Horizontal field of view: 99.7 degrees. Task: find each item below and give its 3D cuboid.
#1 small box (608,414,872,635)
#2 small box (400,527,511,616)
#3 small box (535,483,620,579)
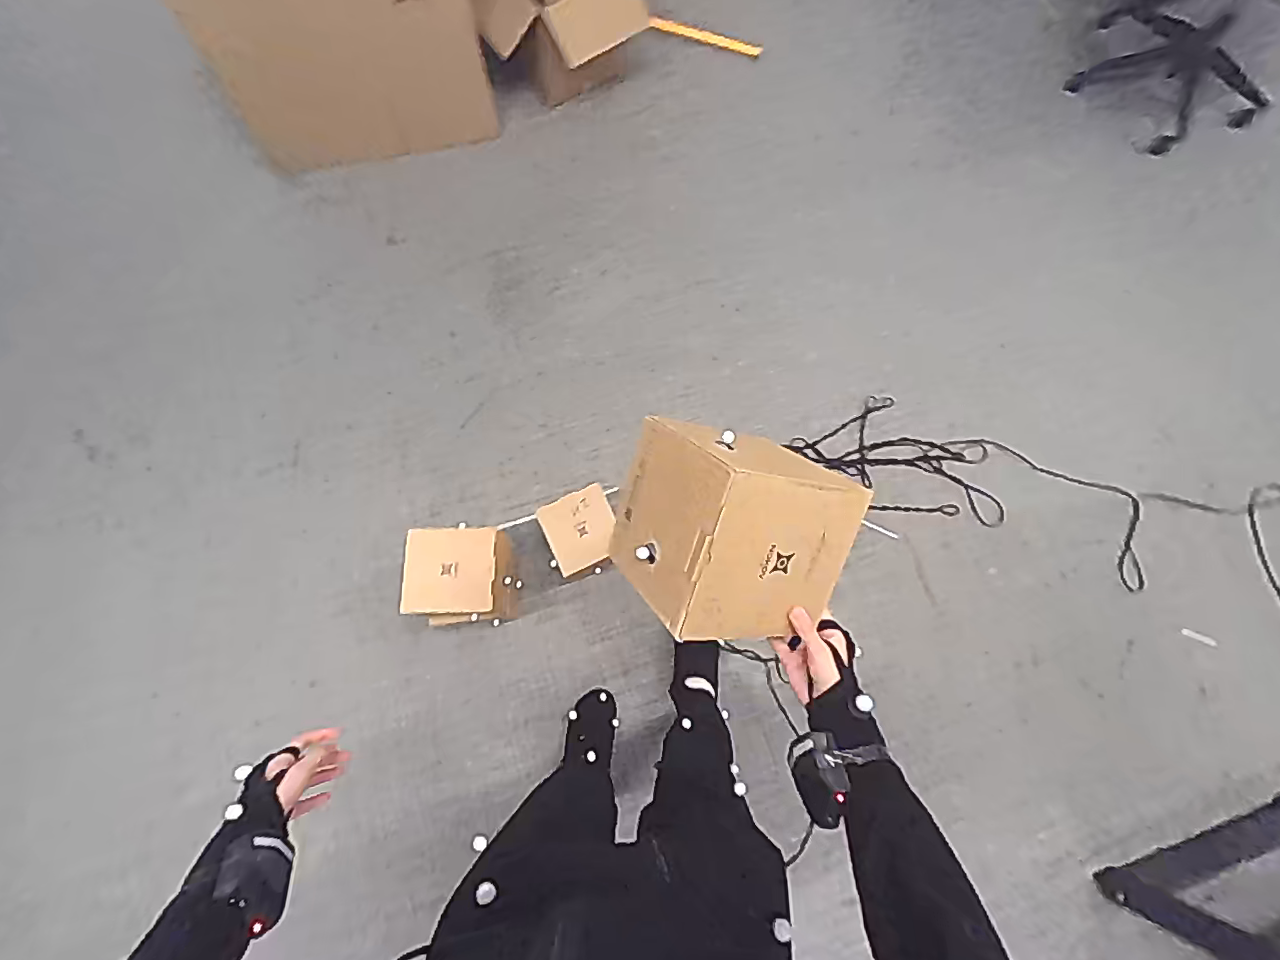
[{"bbox_3d":[0.089,0.040,0.555,0.179,0.176,0.168,8,109,-32],"label":"small box"},{"bbox_3d":[-0.377,0.195,1.133,0.179,0.176,0.168,-1,73,-4],"label":"small box"},{"bbox_3d":[-0.138,0.133,1.327,0.168,0.176,0.179,-24,76,-8],"label":"small box"}]
